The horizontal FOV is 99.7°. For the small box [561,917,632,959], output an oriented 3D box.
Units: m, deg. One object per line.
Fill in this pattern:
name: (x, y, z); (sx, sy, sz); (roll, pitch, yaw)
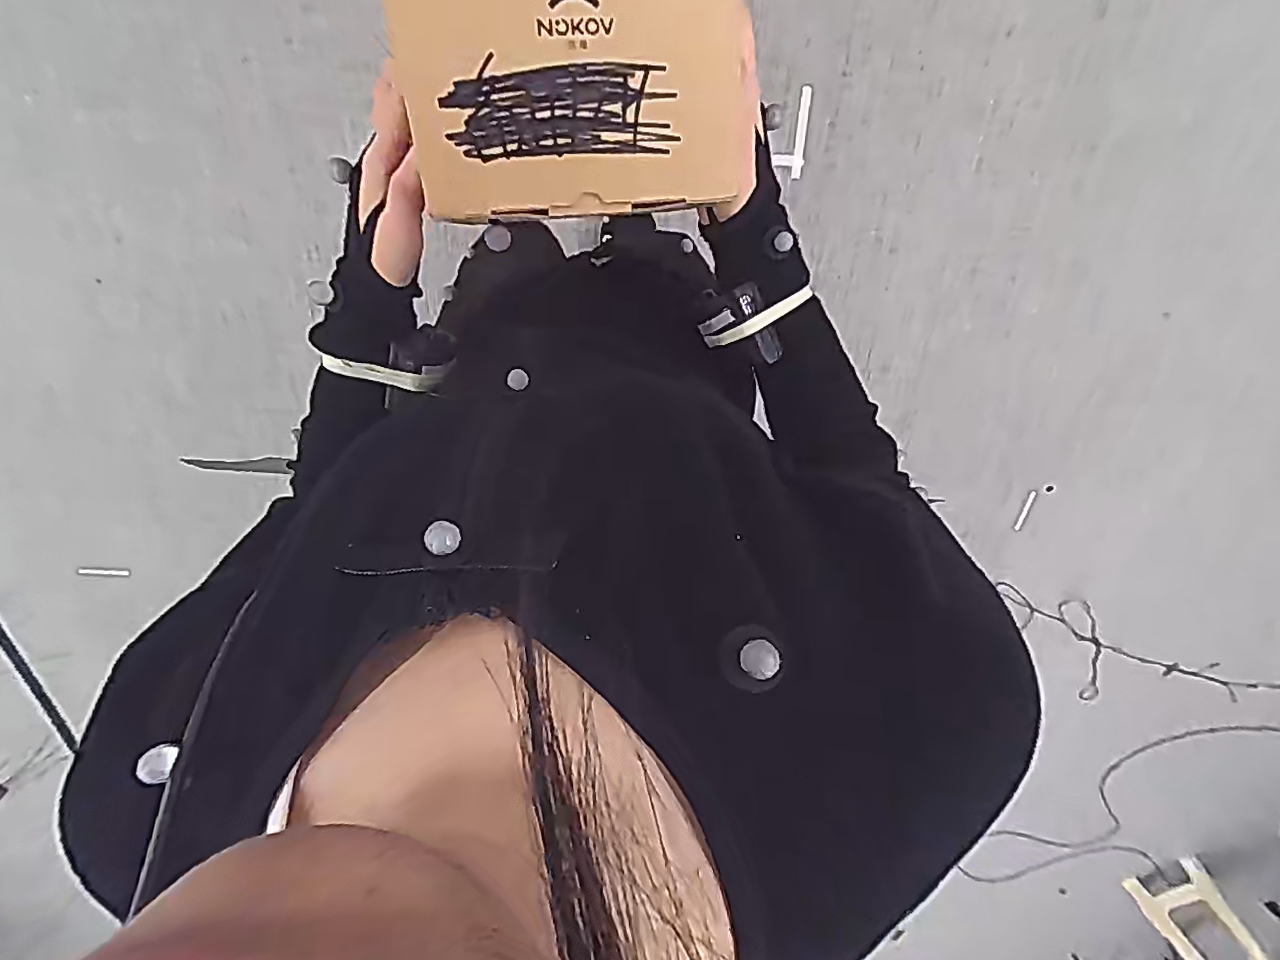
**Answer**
small box: (-0.108, 1.185, 1.295); (0.168, 0.176, 0.179); (4, 118, -4)
